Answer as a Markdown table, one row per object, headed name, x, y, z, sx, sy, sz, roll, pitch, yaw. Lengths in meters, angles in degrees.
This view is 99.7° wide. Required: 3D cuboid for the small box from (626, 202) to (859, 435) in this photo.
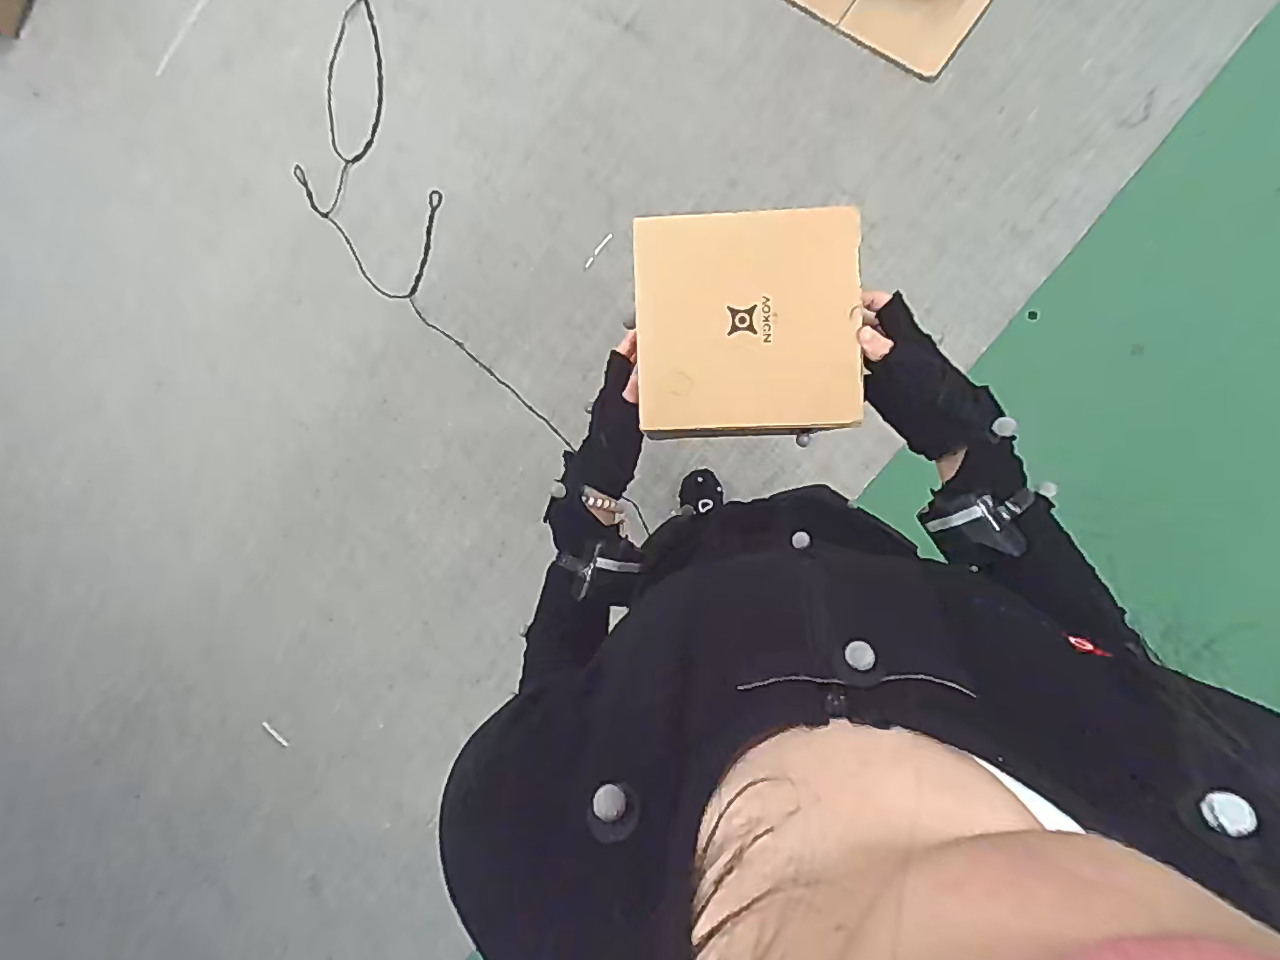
| name | x | y | z | sx | sy | sz | roll | pitch | yaw |
| --- | --- | --- | --- | --- | --- | --- | --- | --- | --- |
| small box | 0.082 | -0.129 | 0.493 | 0.179 | 0.176 | 0.168 | -2 | 92 | 2 |
